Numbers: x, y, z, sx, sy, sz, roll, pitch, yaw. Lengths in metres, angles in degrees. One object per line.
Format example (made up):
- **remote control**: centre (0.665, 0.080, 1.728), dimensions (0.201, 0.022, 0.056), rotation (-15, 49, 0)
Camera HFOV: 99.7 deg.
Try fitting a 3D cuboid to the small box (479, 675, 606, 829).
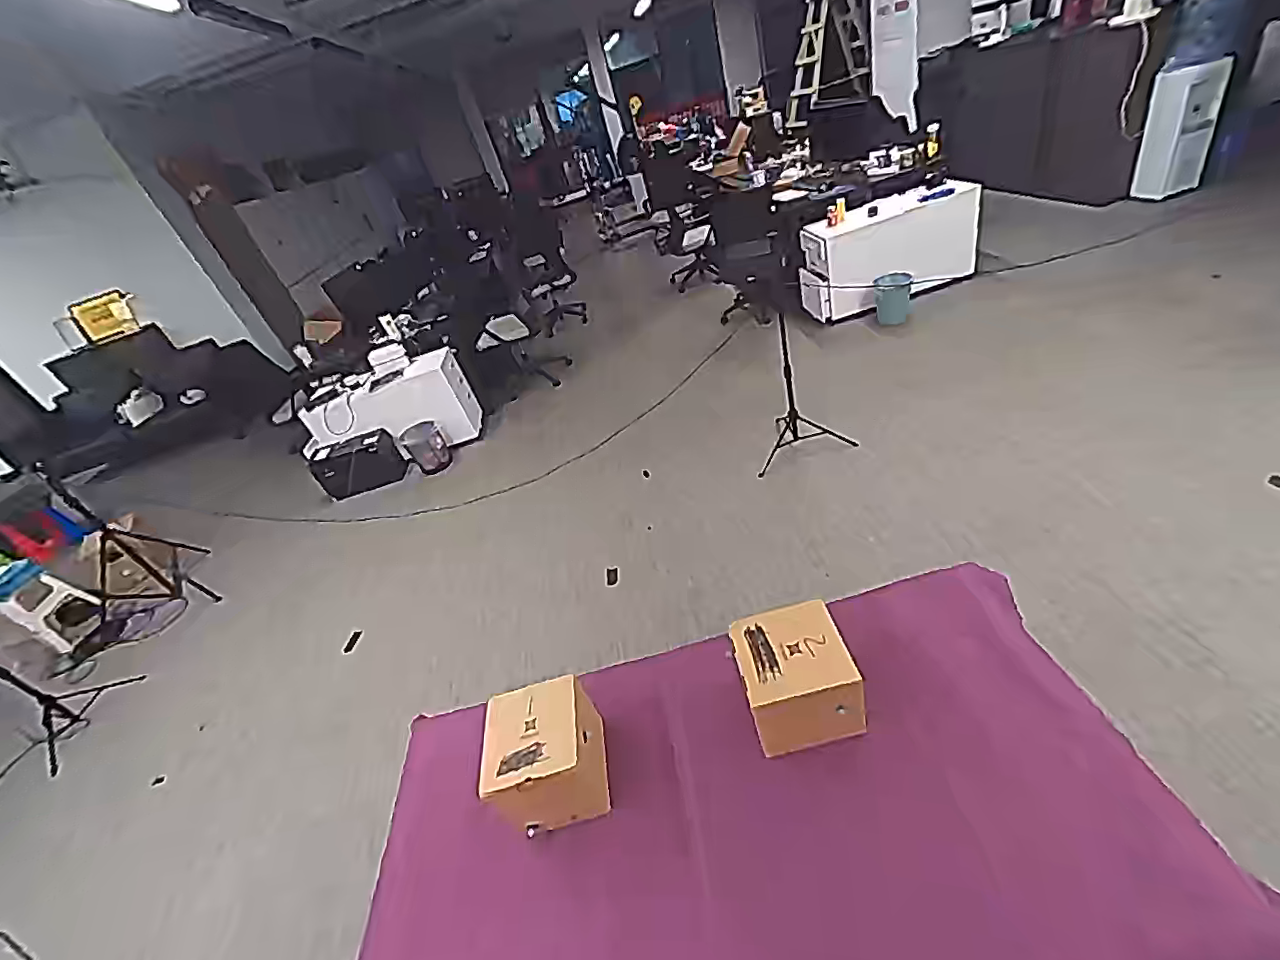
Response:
- **small box**: centre (-0.165, 0.485, 0.955), dimensions (0.168, 0.176, 0.179), rotation (-17, 35, 2)
